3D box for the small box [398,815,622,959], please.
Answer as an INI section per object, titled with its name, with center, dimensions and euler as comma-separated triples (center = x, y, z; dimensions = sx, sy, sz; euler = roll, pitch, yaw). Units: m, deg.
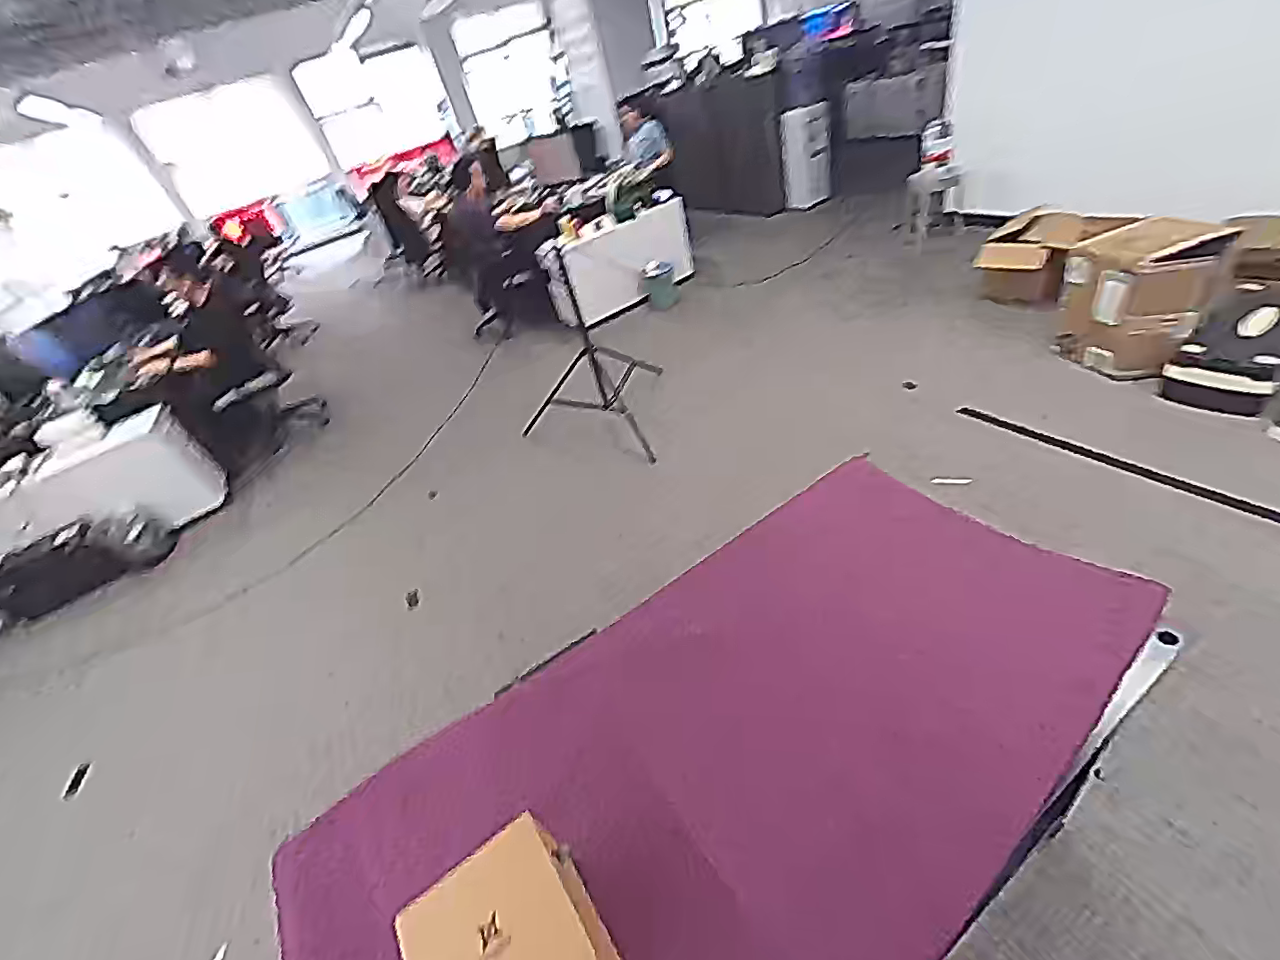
[small box]
center = -0.126, 0.520, 0.580
dimensions = 0.168, 0.176, 0.179
euler = -32, 40, -20
